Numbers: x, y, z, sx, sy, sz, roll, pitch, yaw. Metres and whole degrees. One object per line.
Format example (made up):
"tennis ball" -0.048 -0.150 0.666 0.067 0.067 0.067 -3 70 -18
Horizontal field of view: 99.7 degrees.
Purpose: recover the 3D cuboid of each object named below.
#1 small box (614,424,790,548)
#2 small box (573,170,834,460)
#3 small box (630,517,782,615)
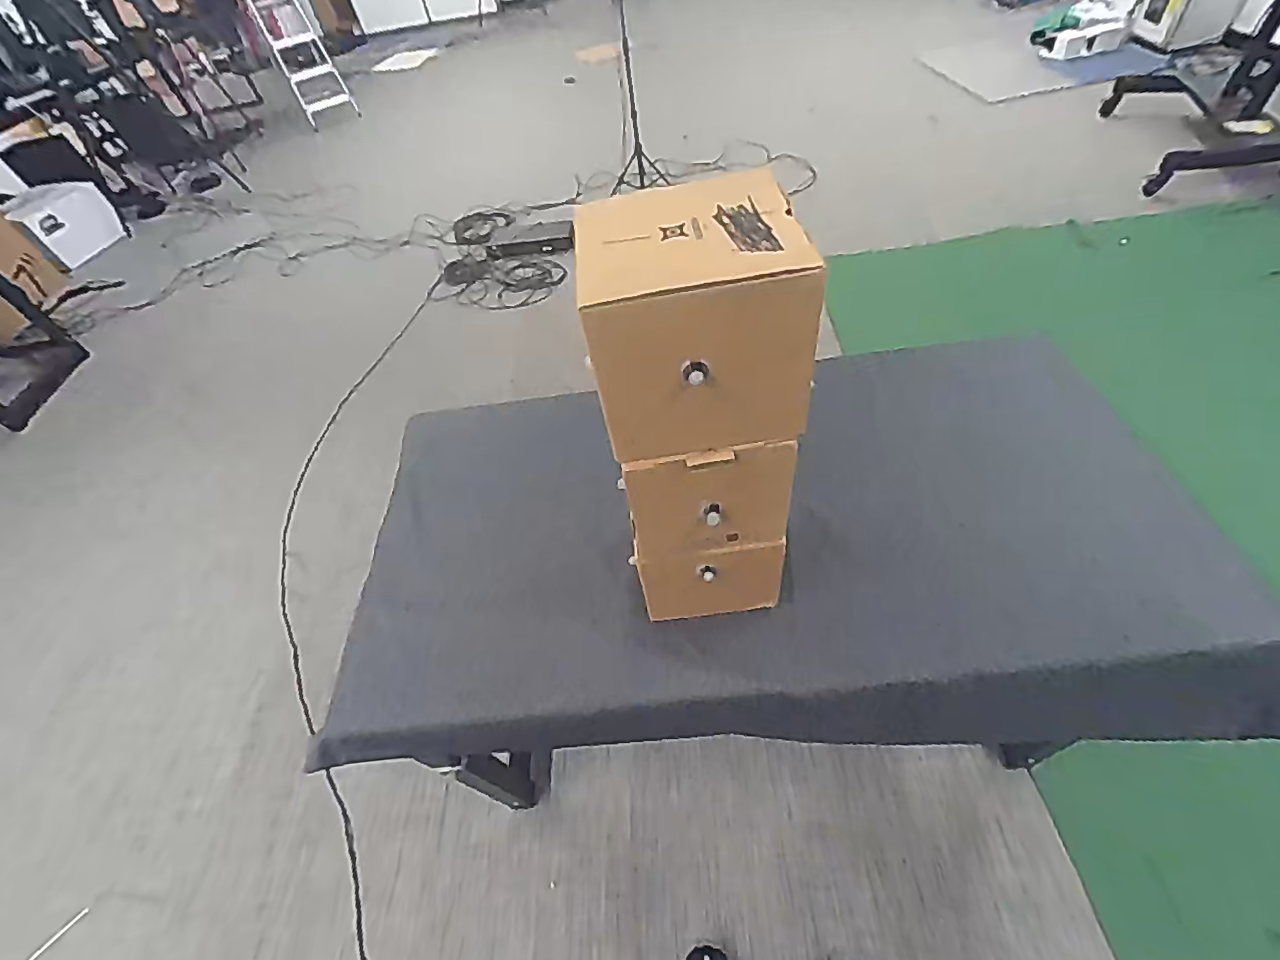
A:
"small box" 0.062 -0.037 0.606 0.168 0.176 0.179 -9 51 2
"small box" 0.045 -0.140 0.477 0.179 0.176 0.168 -10 51 0
"small box" 0.082 0.068 0.729 0.179 0.176 0.168 -7 51 2
